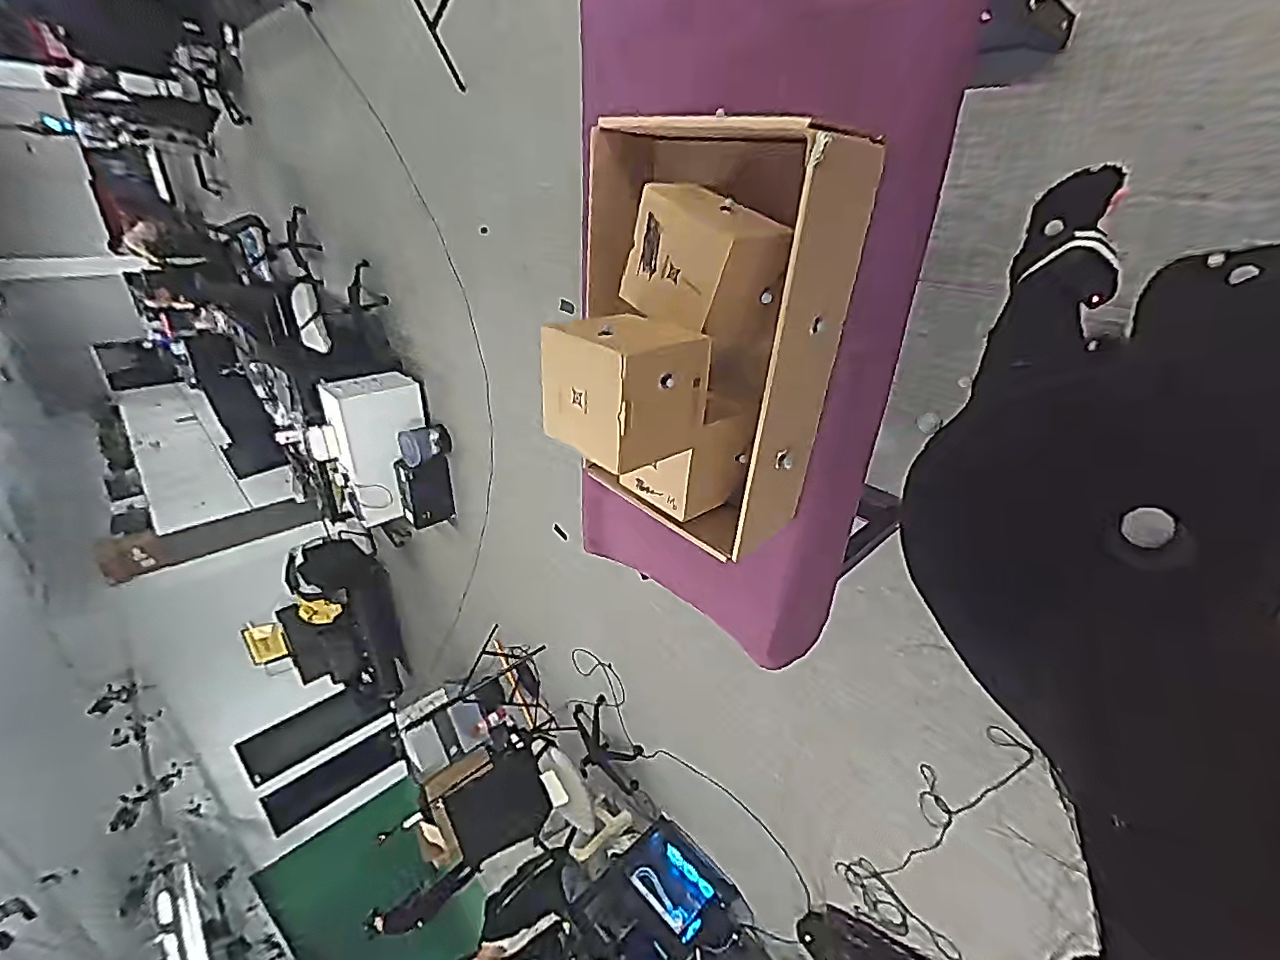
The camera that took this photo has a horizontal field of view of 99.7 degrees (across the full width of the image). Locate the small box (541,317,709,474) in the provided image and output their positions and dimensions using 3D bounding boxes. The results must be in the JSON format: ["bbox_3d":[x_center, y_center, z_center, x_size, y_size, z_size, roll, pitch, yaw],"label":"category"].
[{"bbox_3d":[-0.021,-0.132,0.776,0.179,0.176,0.168,30,128,40],"label":"small box"}]
